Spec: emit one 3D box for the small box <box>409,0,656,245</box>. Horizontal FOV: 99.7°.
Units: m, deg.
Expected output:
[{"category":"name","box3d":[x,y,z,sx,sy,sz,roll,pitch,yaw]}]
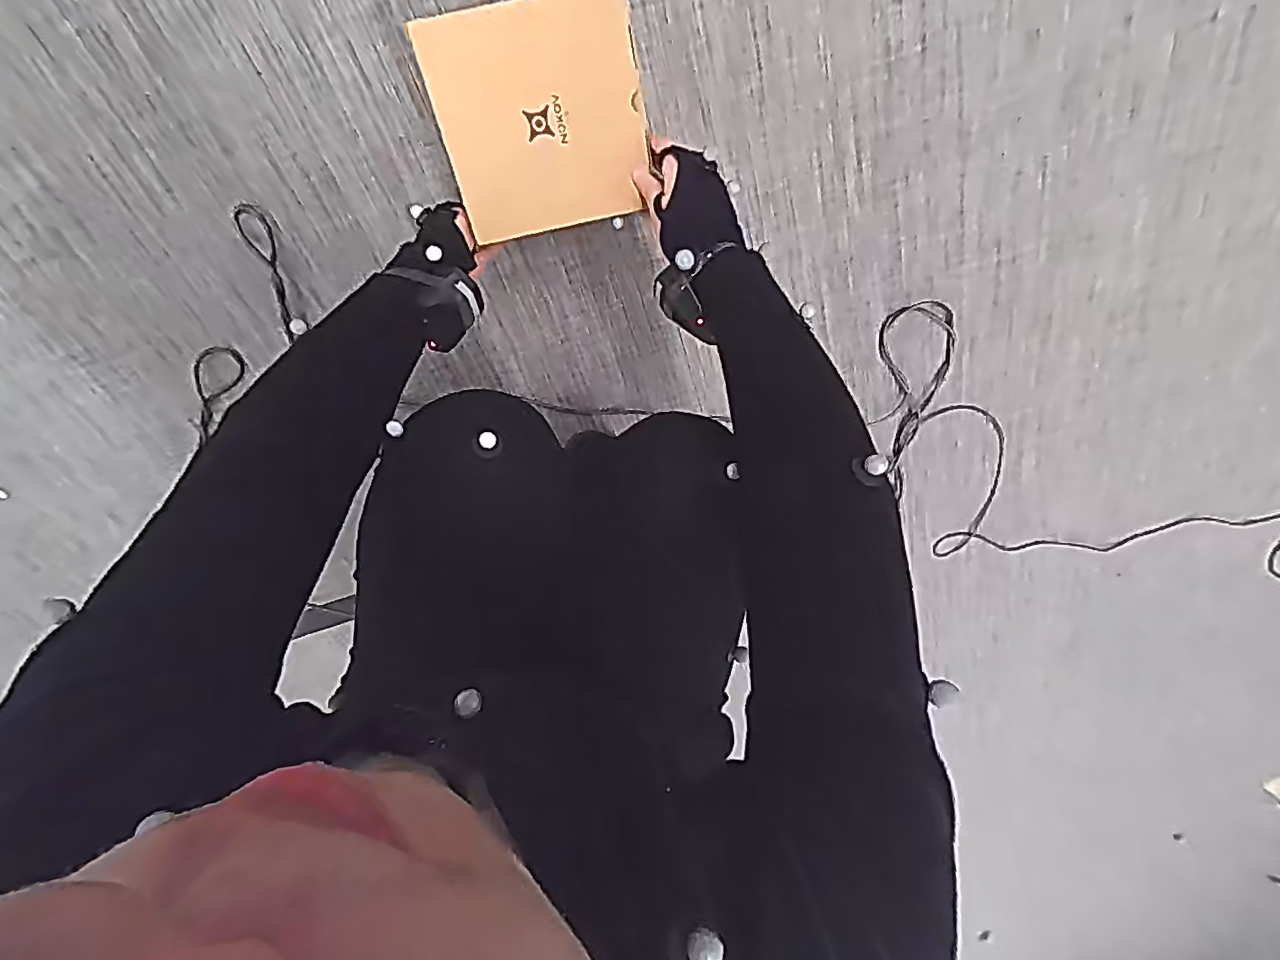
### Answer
[{"category":"small box","box3d":[-0.093,-0.343,0.530,0.179,0.176,0.168,-14,122,-1]}]
